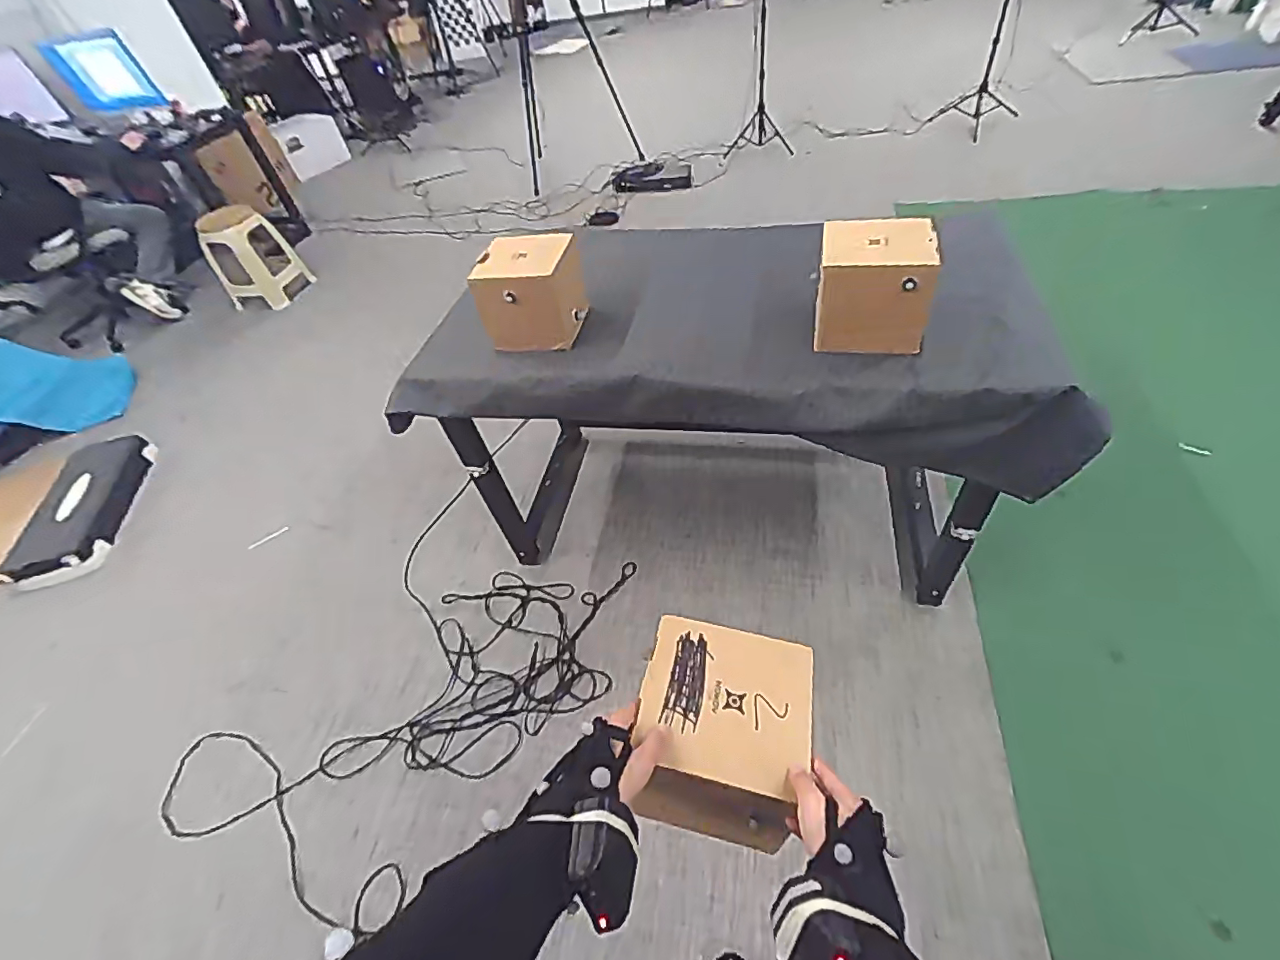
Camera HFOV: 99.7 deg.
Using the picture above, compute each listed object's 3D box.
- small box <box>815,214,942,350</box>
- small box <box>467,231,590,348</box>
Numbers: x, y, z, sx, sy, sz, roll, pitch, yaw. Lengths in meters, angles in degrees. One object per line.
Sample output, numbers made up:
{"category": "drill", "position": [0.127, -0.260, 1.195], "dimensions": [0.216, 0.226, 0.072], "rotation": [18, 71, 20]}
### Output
{"category": "small box", "position": [0.405, -0.343, 0.947], "dimensions": [0.179, 0.176, 0.168], "rotation": [5, 50, 15]}
{"category": "small box", "position": [-0.217, -0.385, 1.104], "dimensions": [0.179, 0.176, 0.168], "rotation": [3, 51, 12]}
